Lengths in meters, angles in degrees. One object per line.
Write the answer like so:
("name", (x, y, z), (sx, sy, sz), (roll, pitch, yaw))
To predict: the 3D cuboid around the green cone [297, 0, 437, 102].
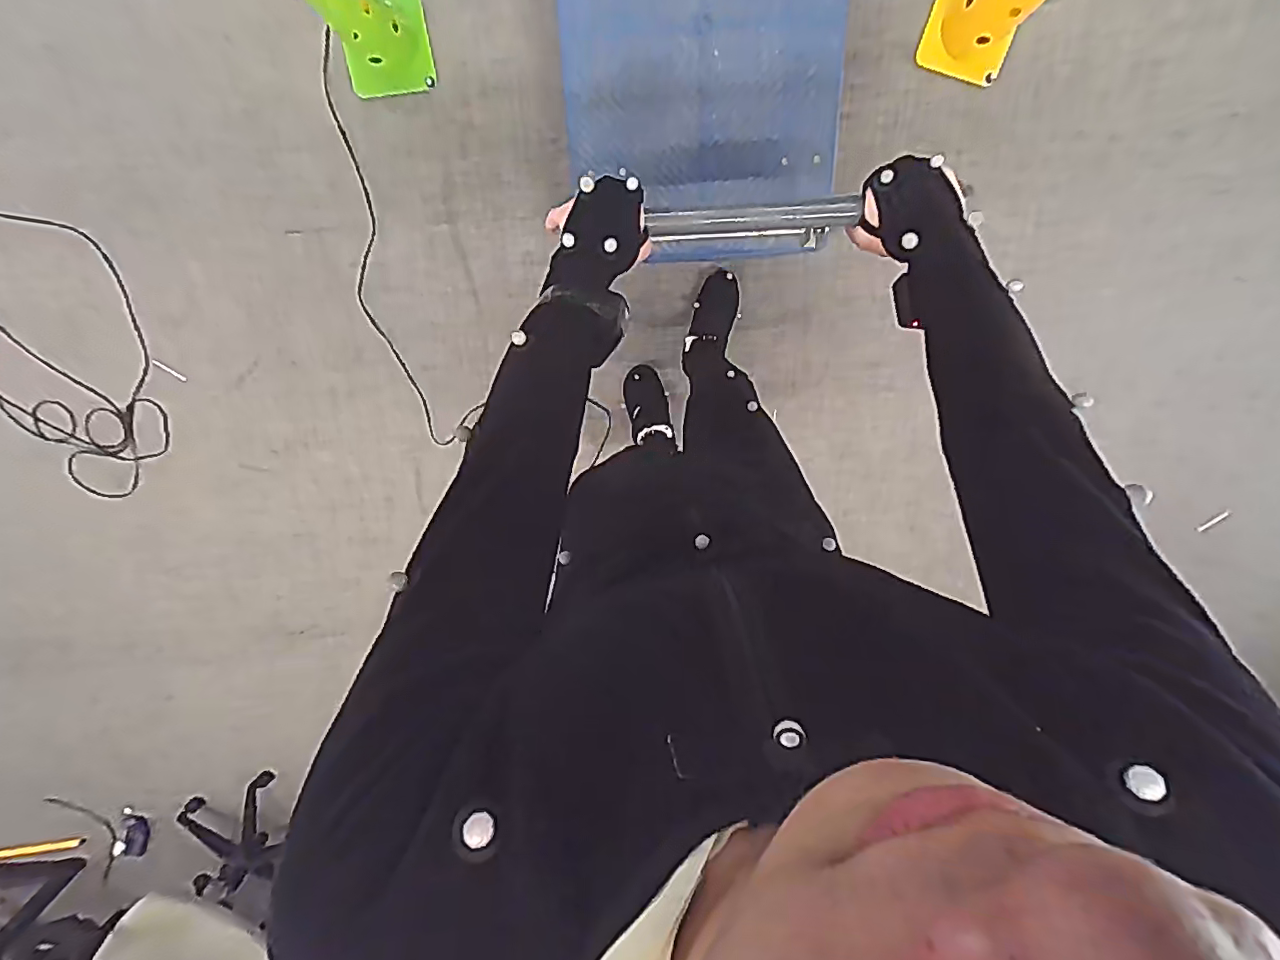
("green cone", (-0.586, -0.929, 1.076), (0.202, 0.368, 0.200), (-5, 112, 5))
